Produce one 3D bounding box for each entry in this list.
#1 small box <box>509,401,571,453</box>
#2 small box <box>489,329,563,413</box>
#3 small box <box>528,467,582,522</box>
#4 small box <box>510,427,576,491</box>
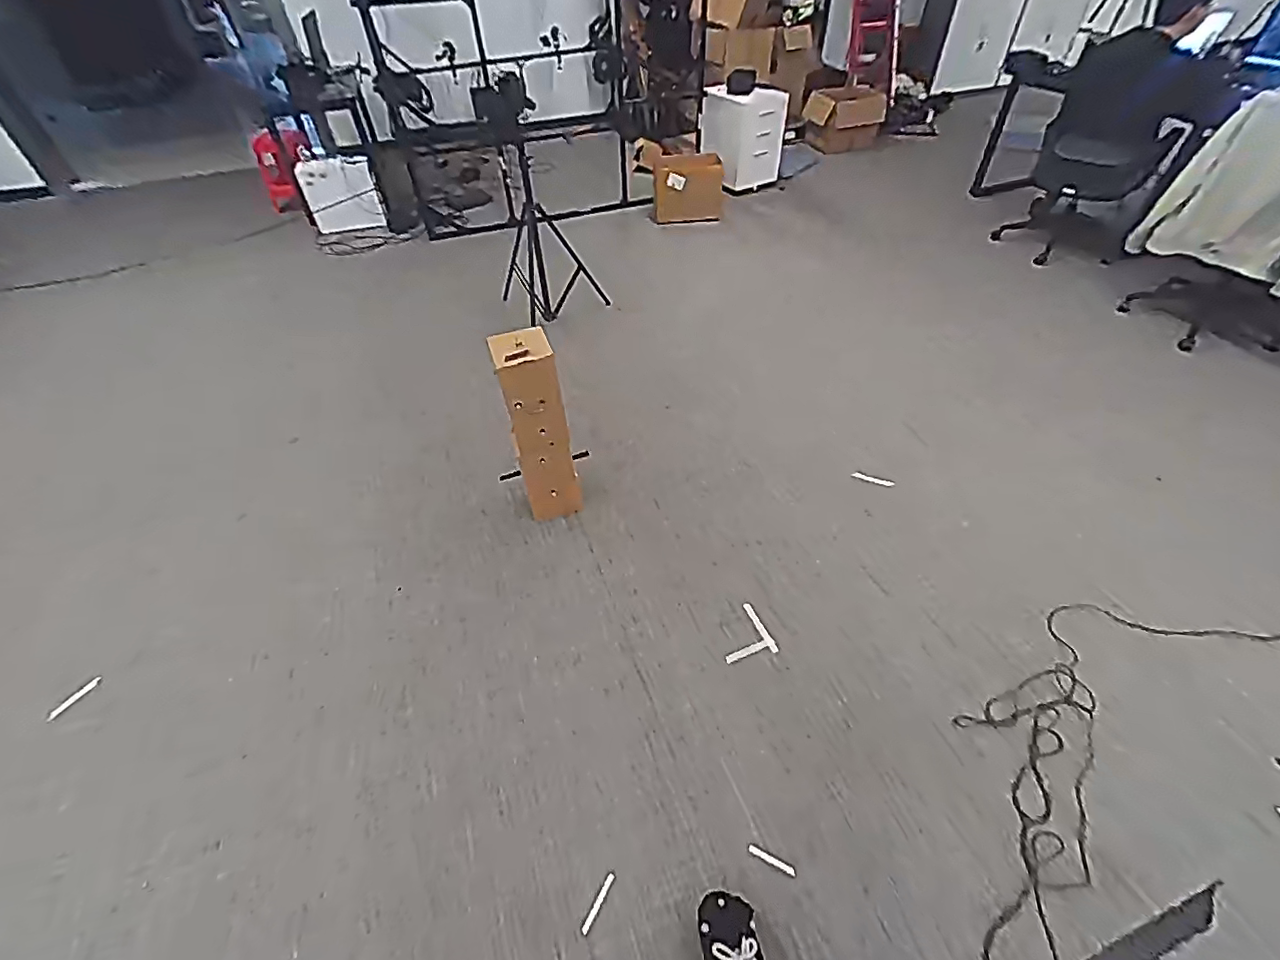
[{"bbox_3d":[-0.324,-0.202,1.716,0.168,0.176,0.179,-15,48,-11],"label":"small box"},{"bbox_3d":[-0.334,-0.317,1.598,0.168,0.176,0.179,-16,47,-12],"label":"small box"},{"bbox_3d":[-0.314,0.024,1.953,0.179,0.176,0.168,-17,48,-12],"label":"small box"},{"bbox_3d":[-0.326,-0.085,1.831,0.179,0.176,0.168,-15,48,-11],"label":"small box"}]
